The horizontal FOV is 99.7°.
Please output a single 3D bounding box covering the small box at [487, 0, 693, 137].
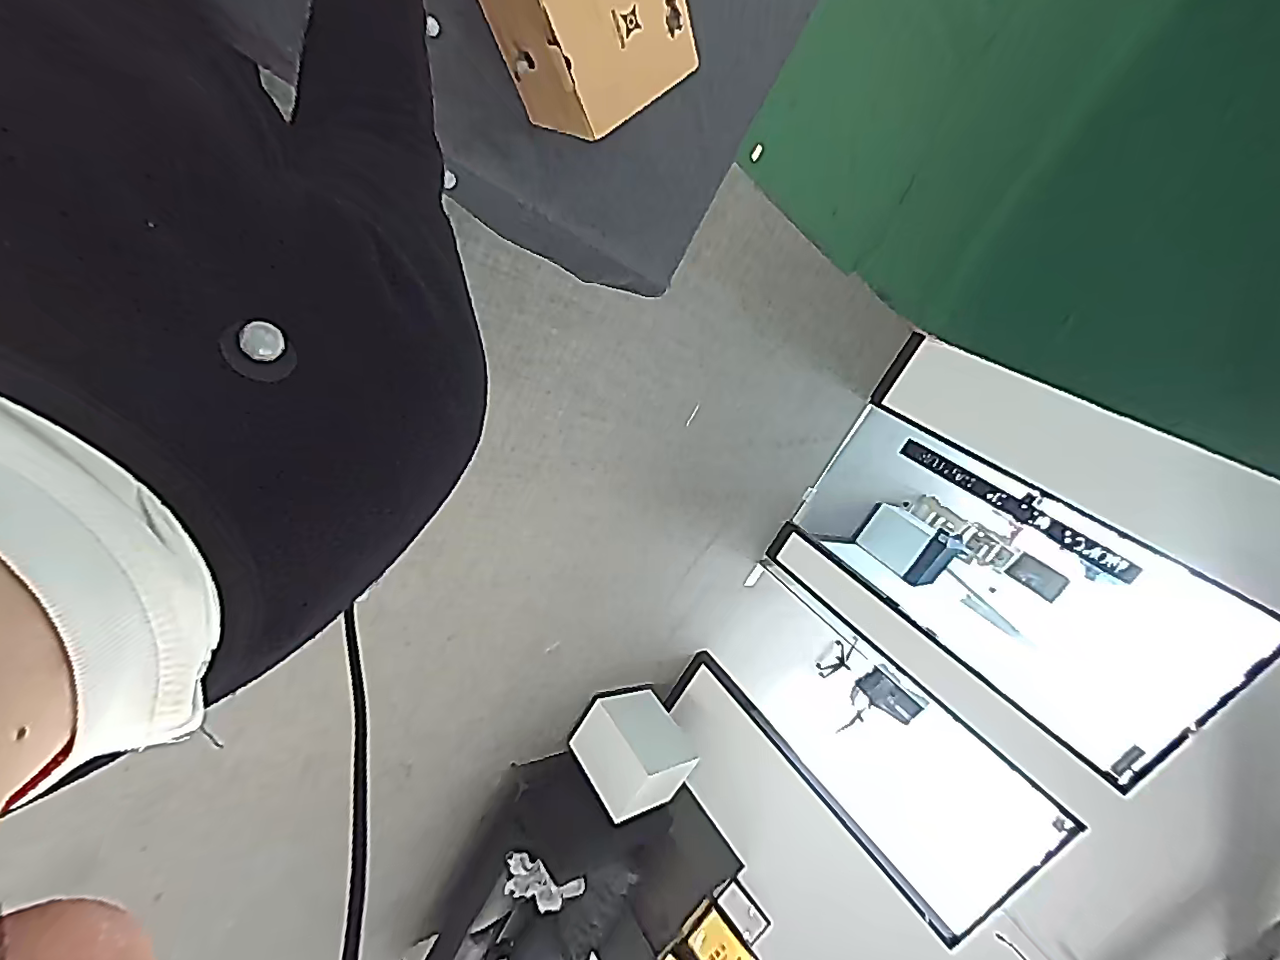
[{"bbox_3d":[-0.067,-0.558,0.662,0.179,0.176,0.168,-38,141,-9],"label":"small box"}]
